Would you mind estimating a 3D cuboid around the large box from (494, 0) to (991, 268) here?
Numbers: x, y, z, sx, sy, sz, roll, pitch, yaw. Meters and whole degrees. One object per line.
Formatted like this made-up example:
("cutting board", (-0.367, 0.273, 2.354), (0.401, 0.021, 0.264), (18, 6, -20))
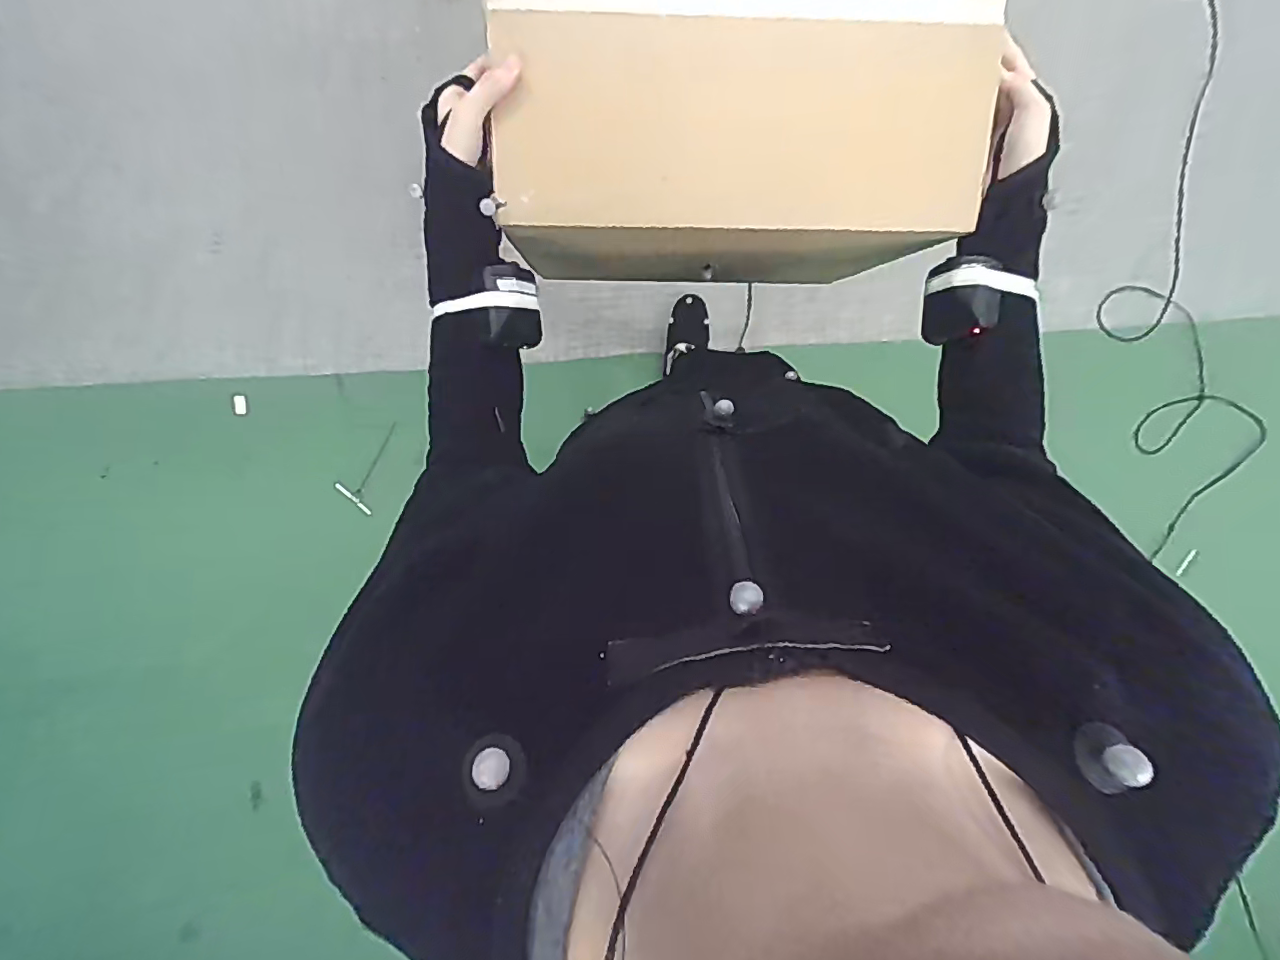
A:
("large box", (0.079, -0.407, 0.571), (0.408, 0.320, 0.320), (-1, 102, -2))
